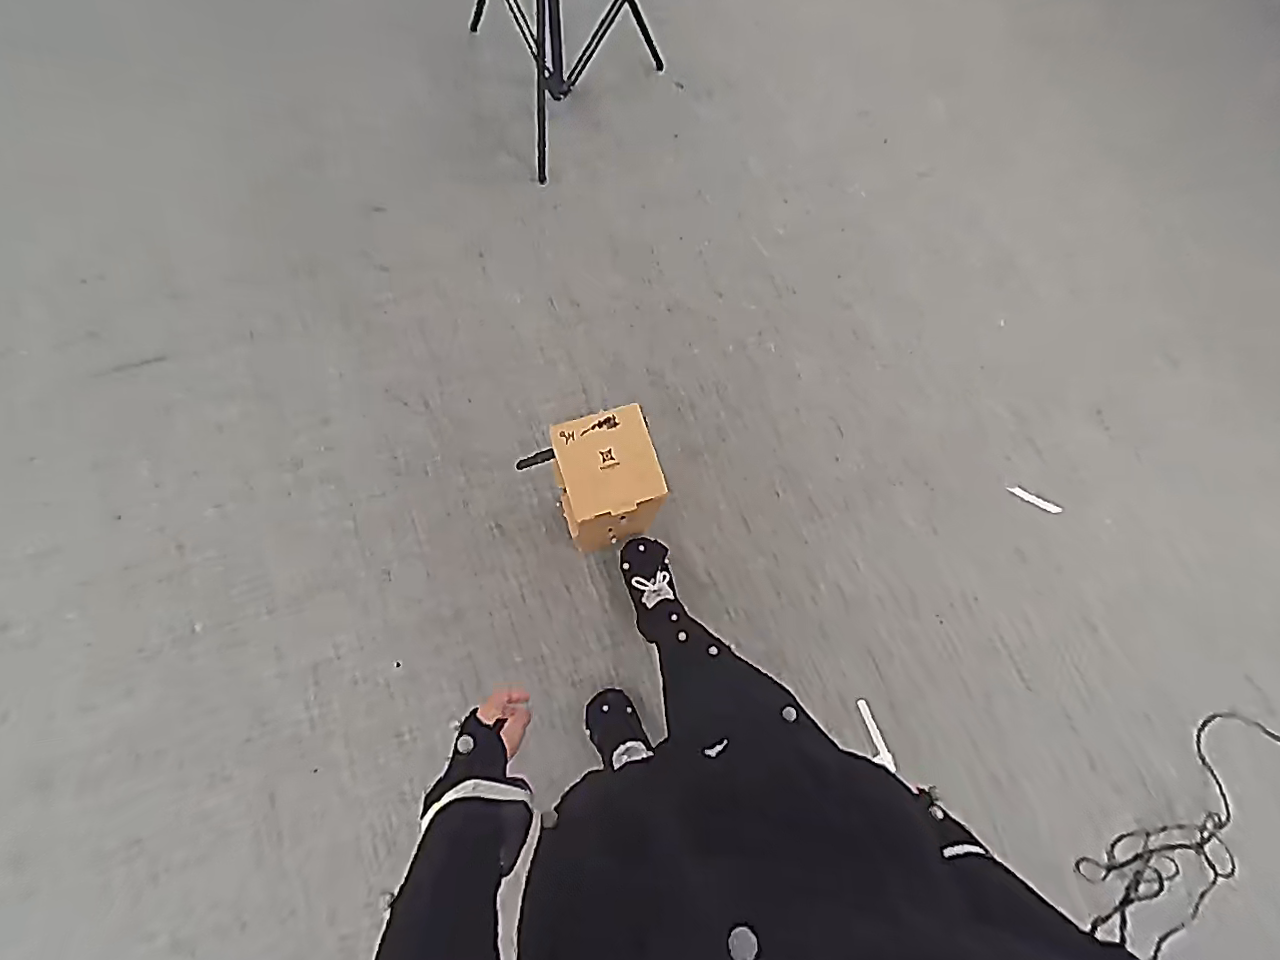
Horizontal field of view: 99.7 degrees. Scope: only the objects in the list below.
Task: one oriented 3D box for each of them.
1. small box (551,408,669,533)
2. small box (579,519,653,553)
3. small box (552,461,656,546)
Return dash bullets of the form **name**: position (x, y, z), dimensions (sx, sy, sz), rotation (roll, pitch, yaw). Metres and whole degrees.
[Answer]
- **small box**: position (-0.056, -0.007, 0.991), dimensions (0.168, 0.176, 0.179), rotation (-16, 79, -8)
- **small box**: position (-0.083, 0.069, 1.309), dimensions (0.179, 0.176, 0.168), rotation (-18, 79, -8)
- **small box**: position (-0.076, 0.036, 1.148), dimensions (0.179, 0.176, 0.168), rotation (-16, 79, -8)
